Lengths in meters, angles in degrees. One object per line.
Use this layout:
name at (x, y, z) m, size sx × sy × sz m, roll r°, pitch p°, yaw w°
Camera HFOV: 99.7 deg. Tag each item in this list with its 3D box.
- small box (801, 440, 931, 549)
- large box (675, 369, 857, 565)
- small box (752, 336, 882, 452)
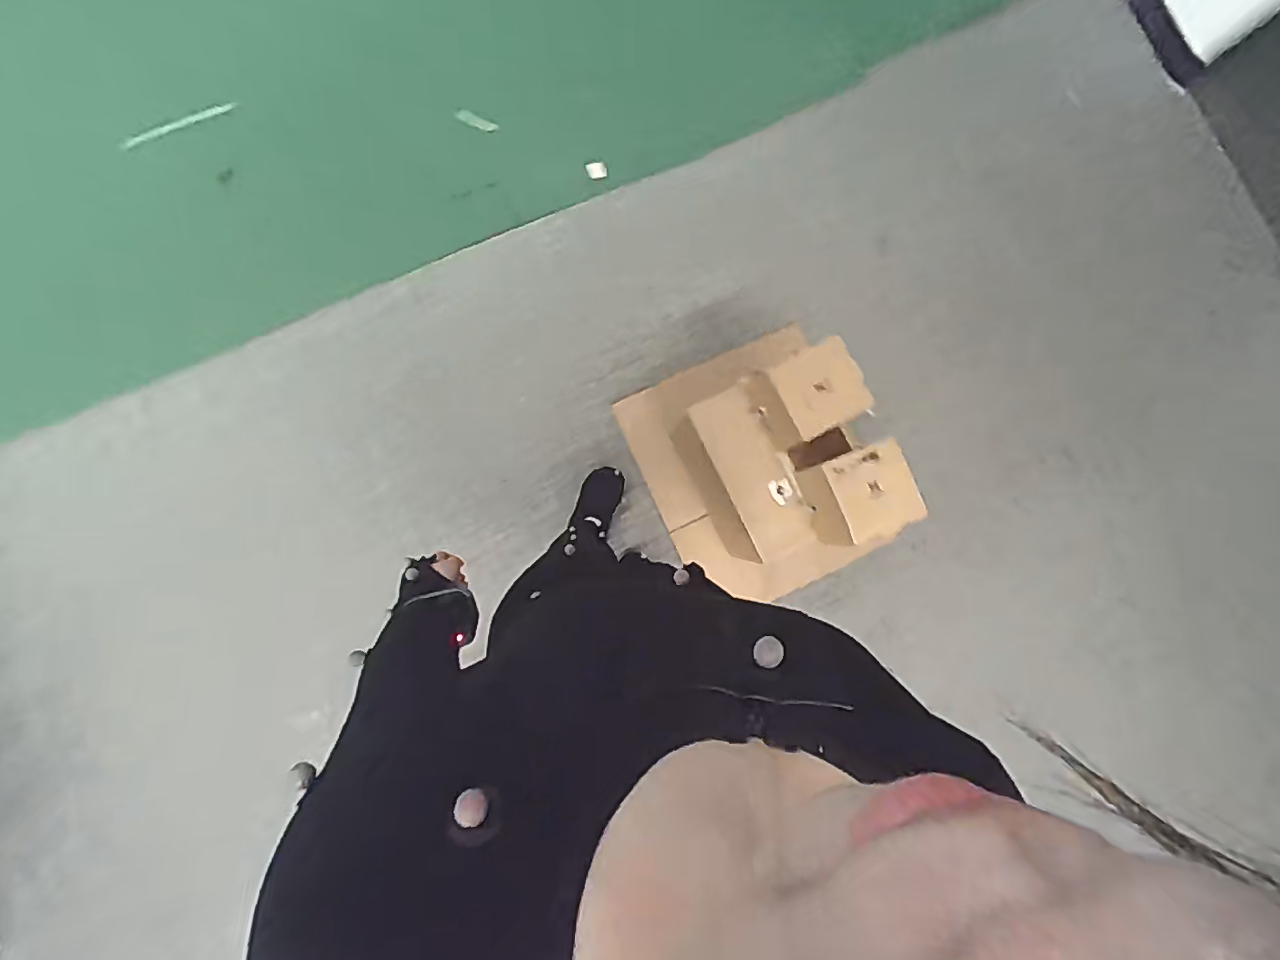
small box at (0.467, 0.033, 1.143) m, size 0.168 × 0.176 × 0.179 m, roll -20°, pitch 86°, yaw -5°
large box at (0.329, -0.038, 1.387) m, size 0.320 × 0.320 × 0.408 m, roll -26°, pitch 88°, yaw -5°
small box at (0.368, -0.176, 1.157) m, size 0.179 × 0.176 × 0.168 m, roll -28°, pitch 87°, yaw -6°
